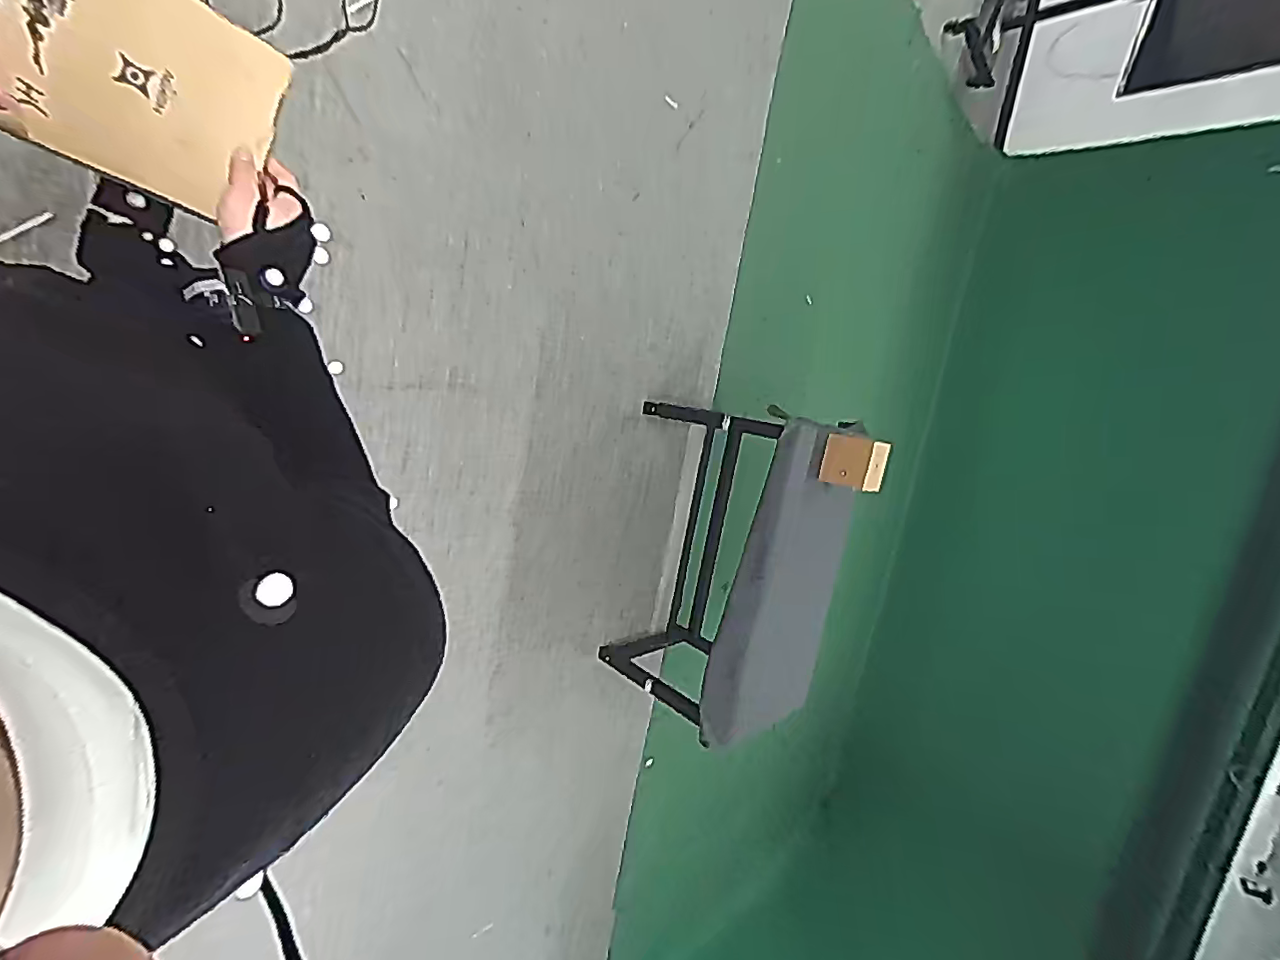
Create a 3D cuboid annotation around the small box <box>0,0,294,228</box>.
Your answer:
[{"bbox_3d":[-0.465,-0.366,0.518,0.179,0.176,0.168,18,97,-42],"label":"small box"}]

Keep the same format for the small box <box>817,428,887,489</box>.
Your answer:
[{"bbox_3d":[0.763,-0.078,1.957,0.168,0.176,0.179,5,101,-50],"label":"small box"}]
